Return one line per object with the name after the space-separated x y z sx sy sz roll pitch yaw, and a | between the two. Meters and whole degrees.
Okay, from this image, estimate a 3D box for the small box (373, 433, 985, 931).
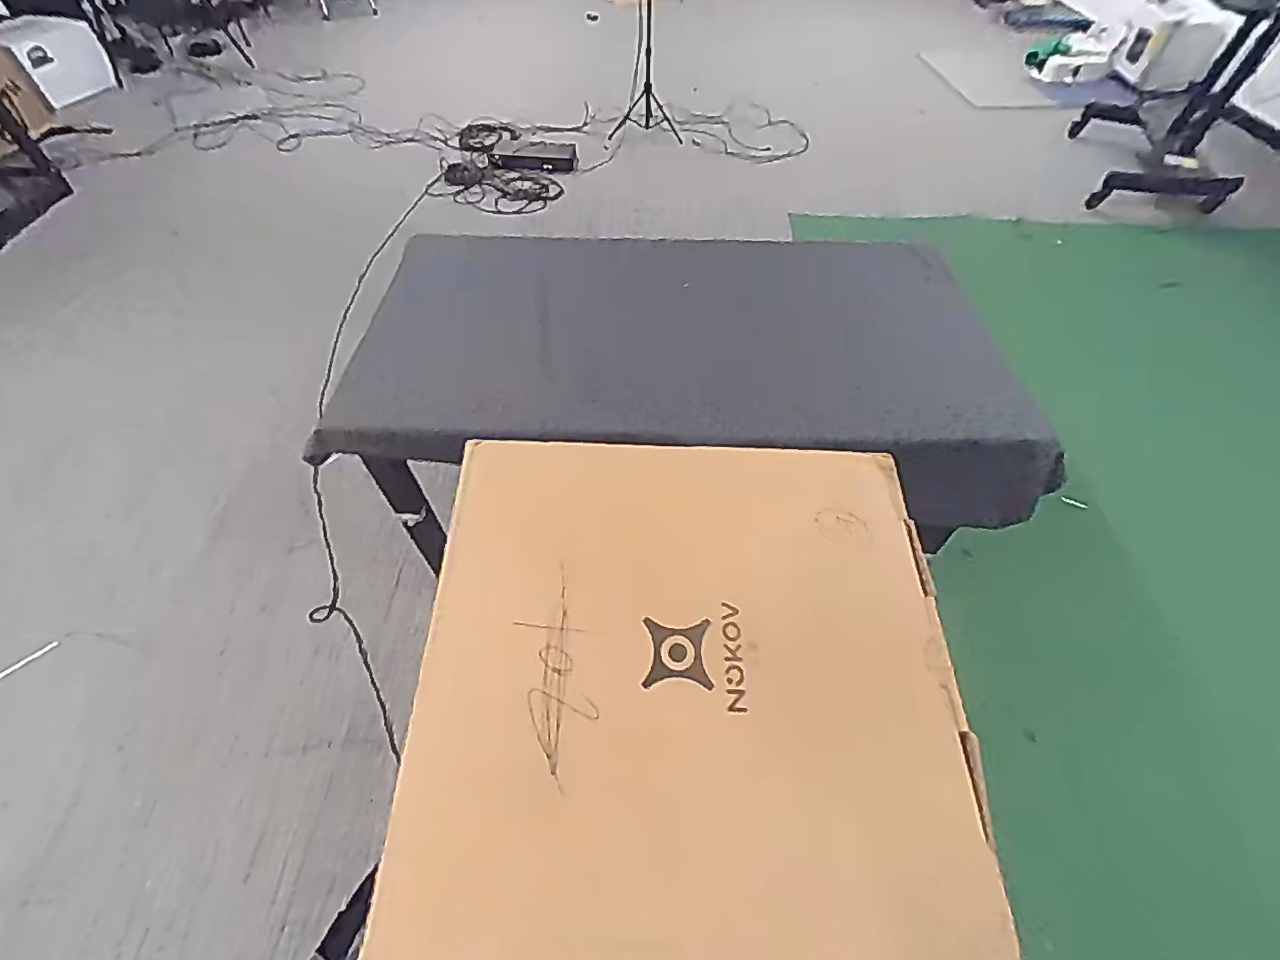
0.011 0.093 0.259 0.179 0.176 0.168 0 59 -1 | small box
